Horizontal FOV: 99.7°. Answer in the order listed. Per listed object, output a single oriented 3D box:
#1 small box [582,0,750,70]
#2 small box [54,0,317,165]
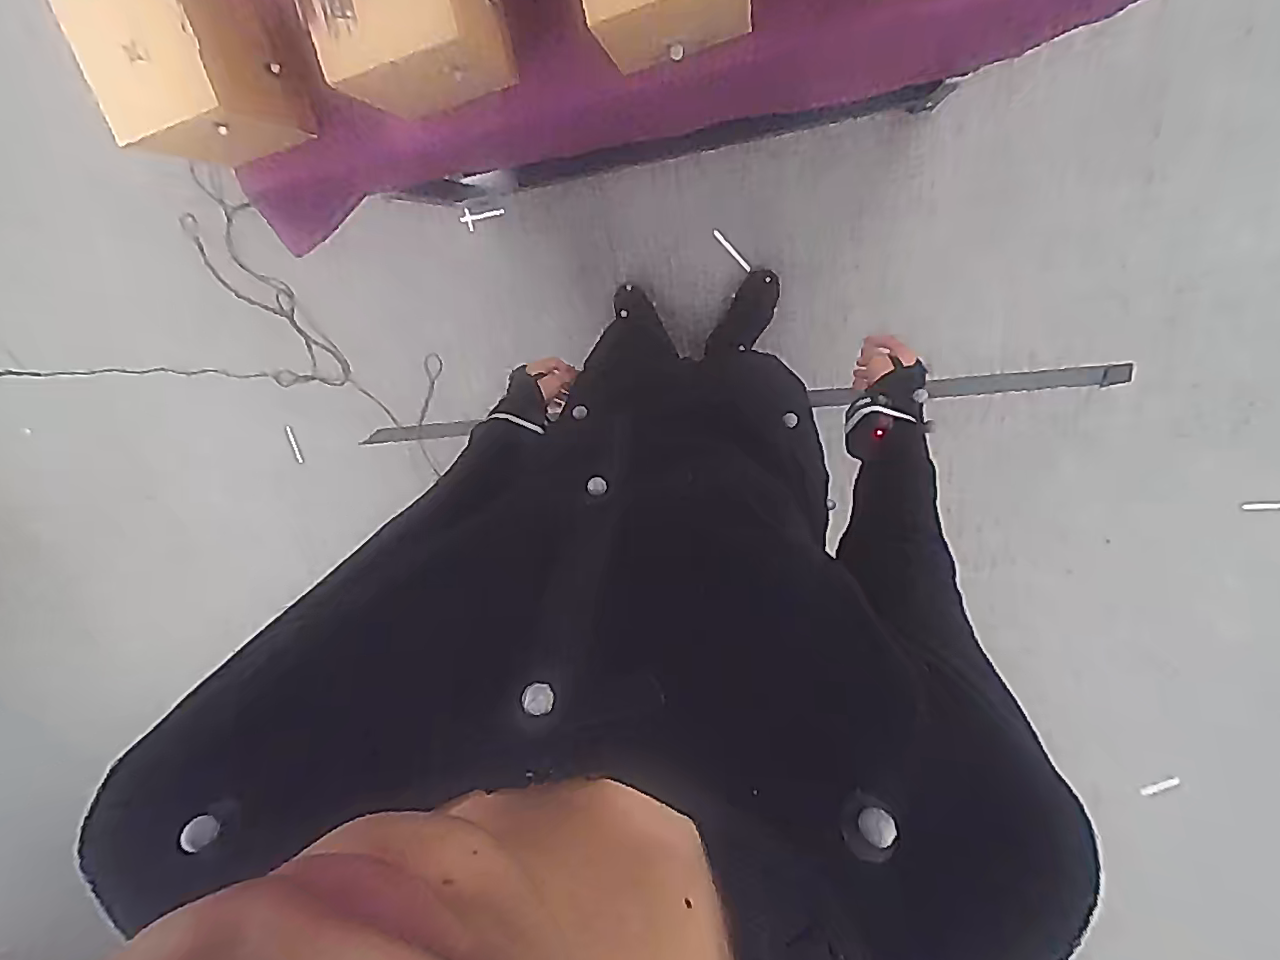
[{"bbox_3d":[0.023,-0.579,0.570,0.168,0.176,0.179,-7,111,16],"label":"small box"},{"bbox_3d":[-0.586,-0.542,0.721,0.179,0.176,0.168,-9,110,14],"label":"small box"}]
